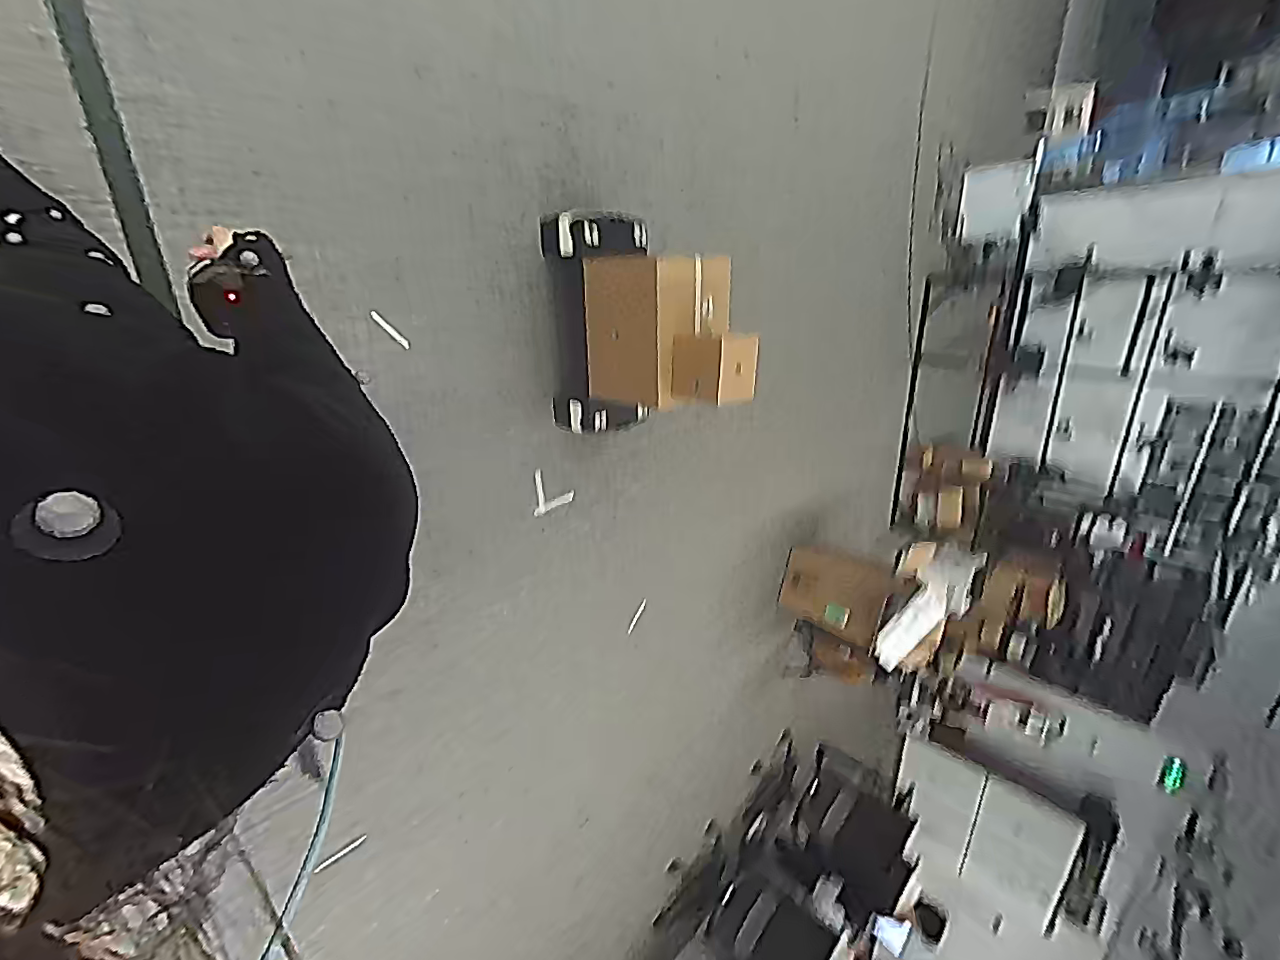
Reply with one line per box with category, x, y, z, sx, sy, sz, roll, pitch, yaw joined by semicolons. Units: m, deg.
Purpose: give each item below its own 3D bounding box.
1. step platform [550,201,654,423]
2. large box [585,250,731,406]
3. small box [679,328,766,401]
step platform;-0.120;-0.529;1.771;0.286;0.204;0.684;-14;113;-42
large box;0.059;-0.462;1.626;0.320;0.320;0.408;-21;117;-41
small box;0.220;-0.320;1.479;0.168;0.176;0.179;-16;114;-41
